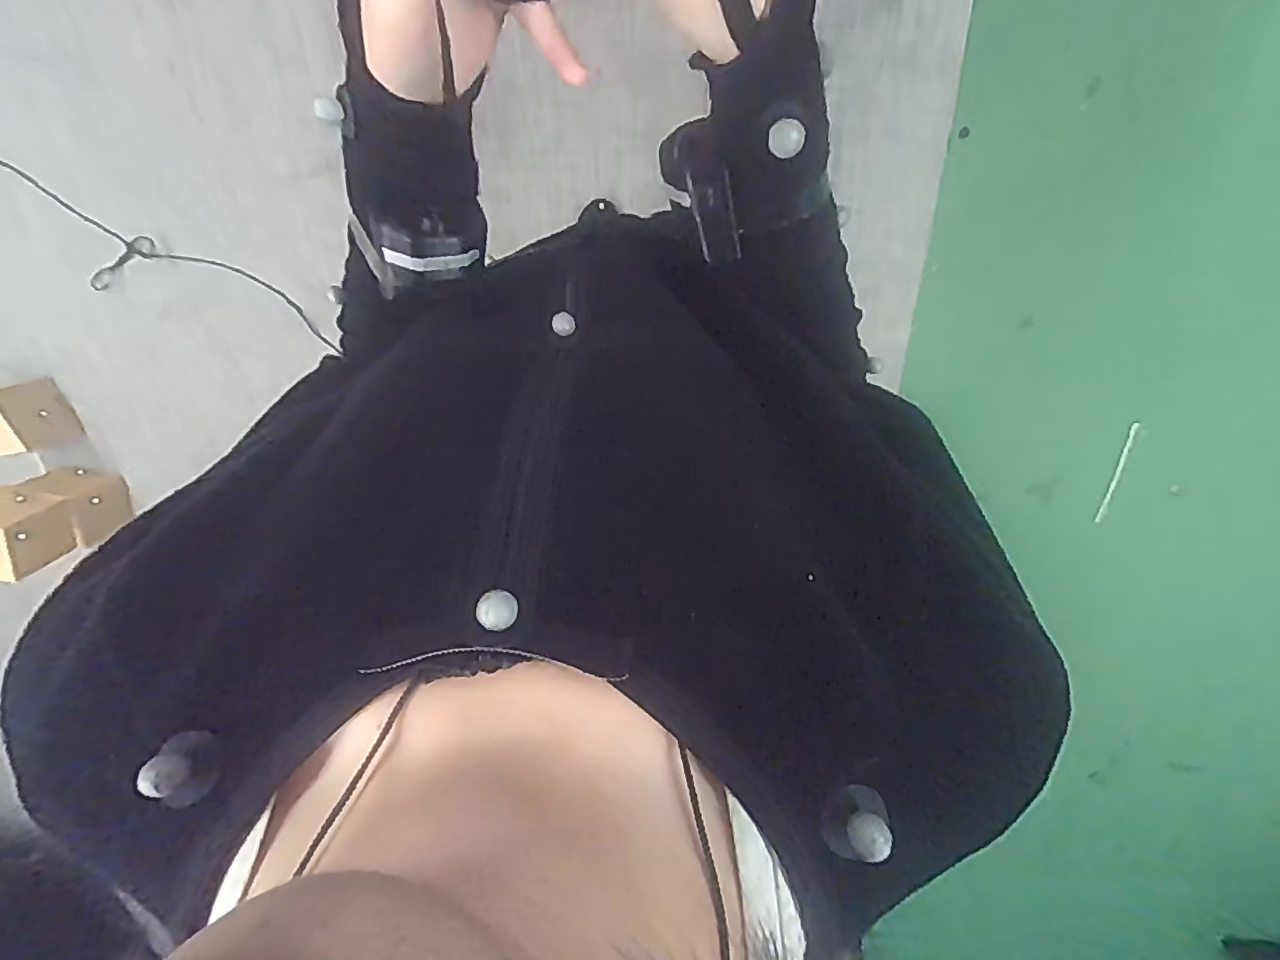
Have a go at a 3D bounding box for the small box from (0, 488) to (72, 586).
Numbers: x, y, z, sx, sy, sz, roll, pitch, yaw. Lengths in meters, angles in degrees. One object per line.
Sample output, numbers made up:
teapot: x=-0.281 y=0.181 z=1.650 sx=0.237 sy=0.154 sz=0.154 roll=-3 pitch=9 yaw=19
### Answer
small box: x=-1.671 y=0.146 z=1.432 sx=0.168 sy=0.176 sz=0.179 roll=15 pitch=113 yaw=-5

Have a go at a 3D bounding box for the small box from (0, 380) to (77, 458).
small box: x=-1.703 y=-0.165 z=1.463 sx=0.179 sy=0.176 sz=0.168 roll=-7 pitch=115 yaw=5
